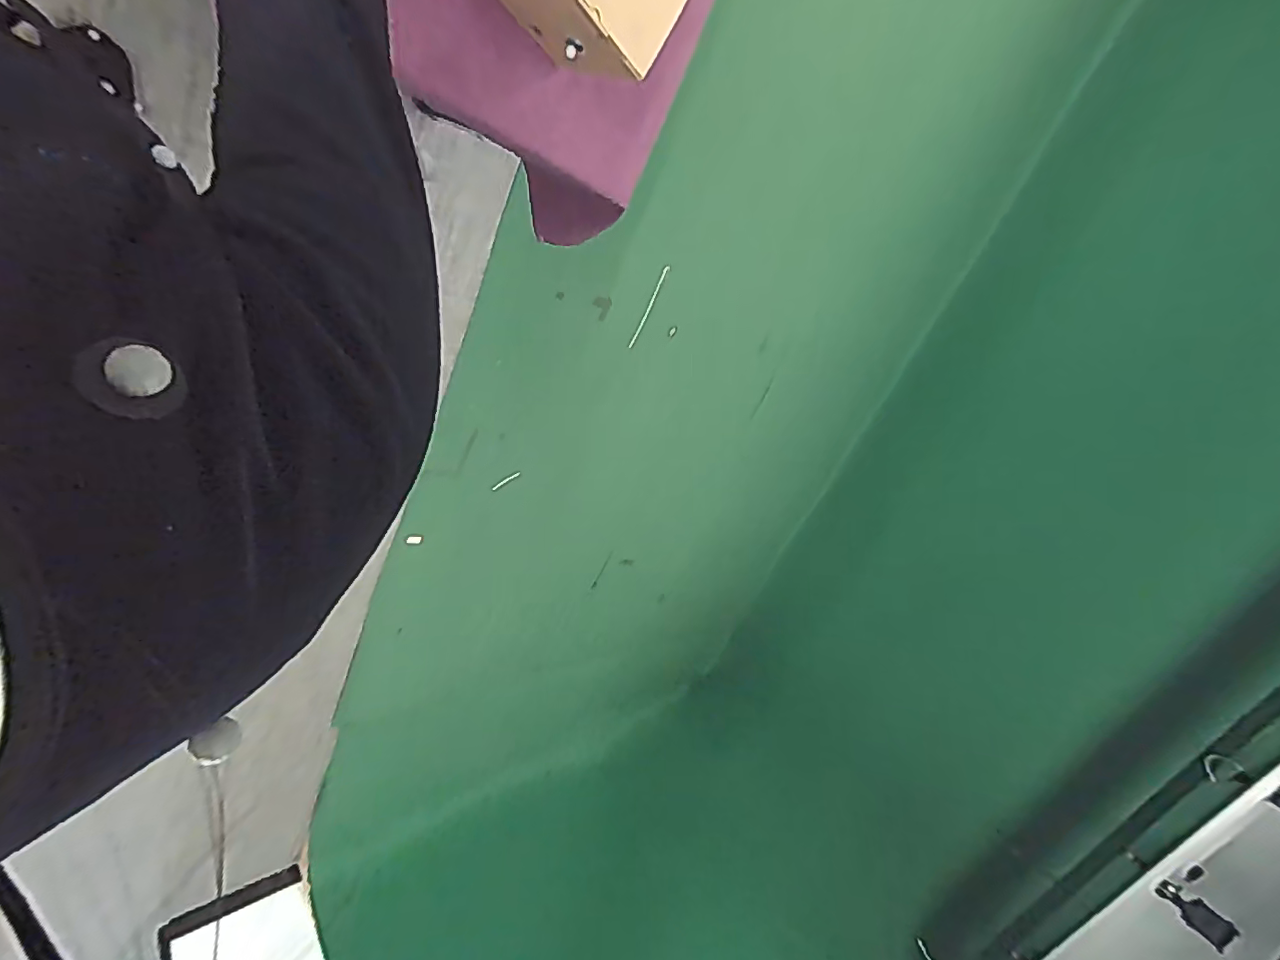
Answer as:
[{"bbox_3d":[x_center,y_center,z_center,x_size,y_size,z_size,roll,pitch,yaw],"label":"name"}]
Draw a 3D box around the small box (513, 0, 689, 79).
[{"bbox_3d":[-0.048,-0.560,0.551,0.168,0.176,0.179,18,108,-53],"label":"small box"}]
